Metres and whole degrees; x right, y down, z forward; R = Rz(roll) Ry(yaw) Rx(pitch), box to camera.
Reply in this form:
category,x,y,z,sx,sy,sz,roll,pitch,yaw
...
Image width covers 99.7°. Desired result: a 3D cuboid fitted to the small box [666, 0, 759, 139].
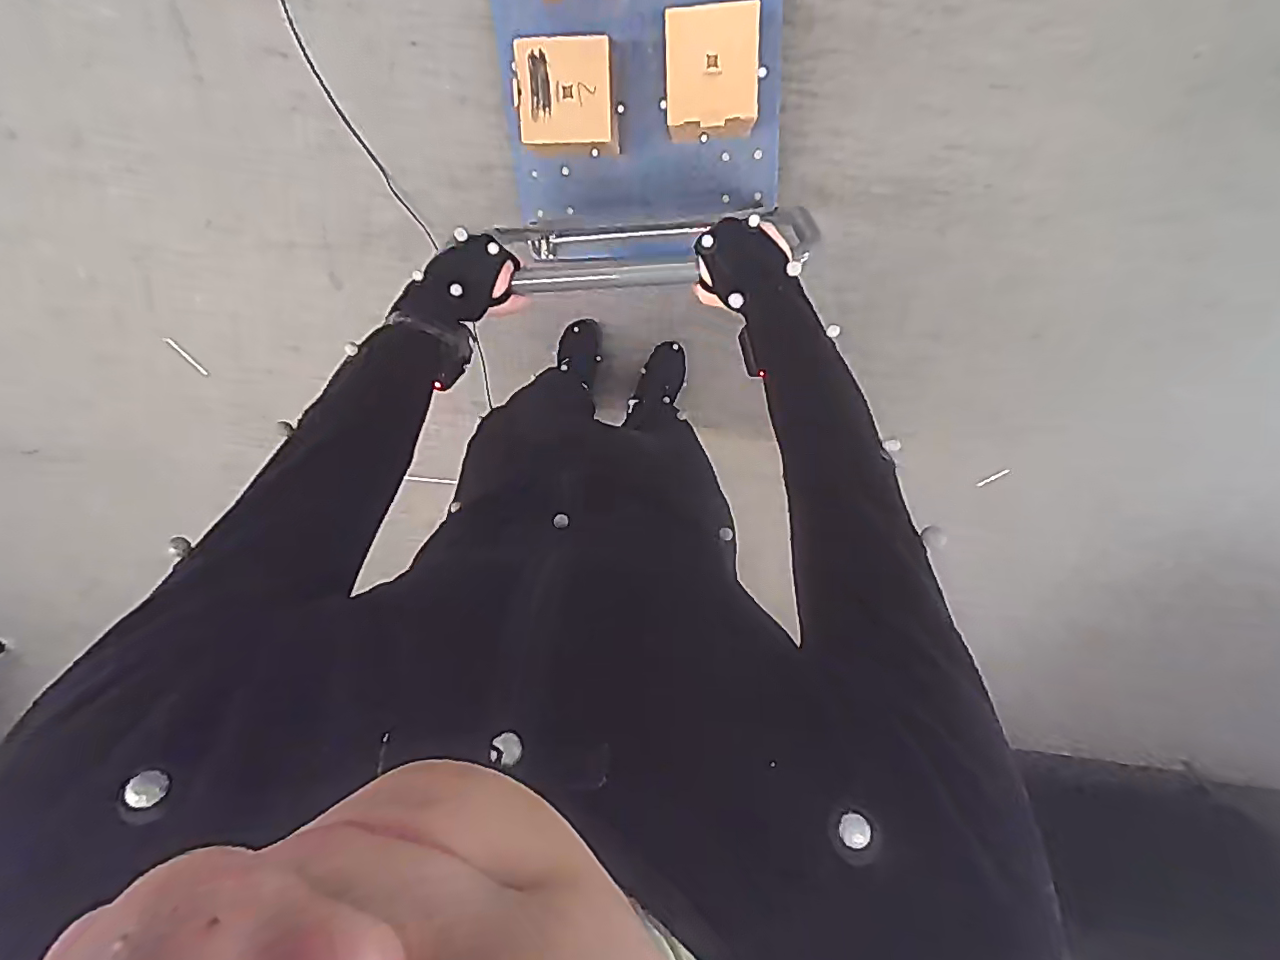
category,x,y,z,sx,sy,sz,roll,pitch,yaw
small box,0.133,-0.780,1.042,0.168,0.176,0.179,-1,113,5
